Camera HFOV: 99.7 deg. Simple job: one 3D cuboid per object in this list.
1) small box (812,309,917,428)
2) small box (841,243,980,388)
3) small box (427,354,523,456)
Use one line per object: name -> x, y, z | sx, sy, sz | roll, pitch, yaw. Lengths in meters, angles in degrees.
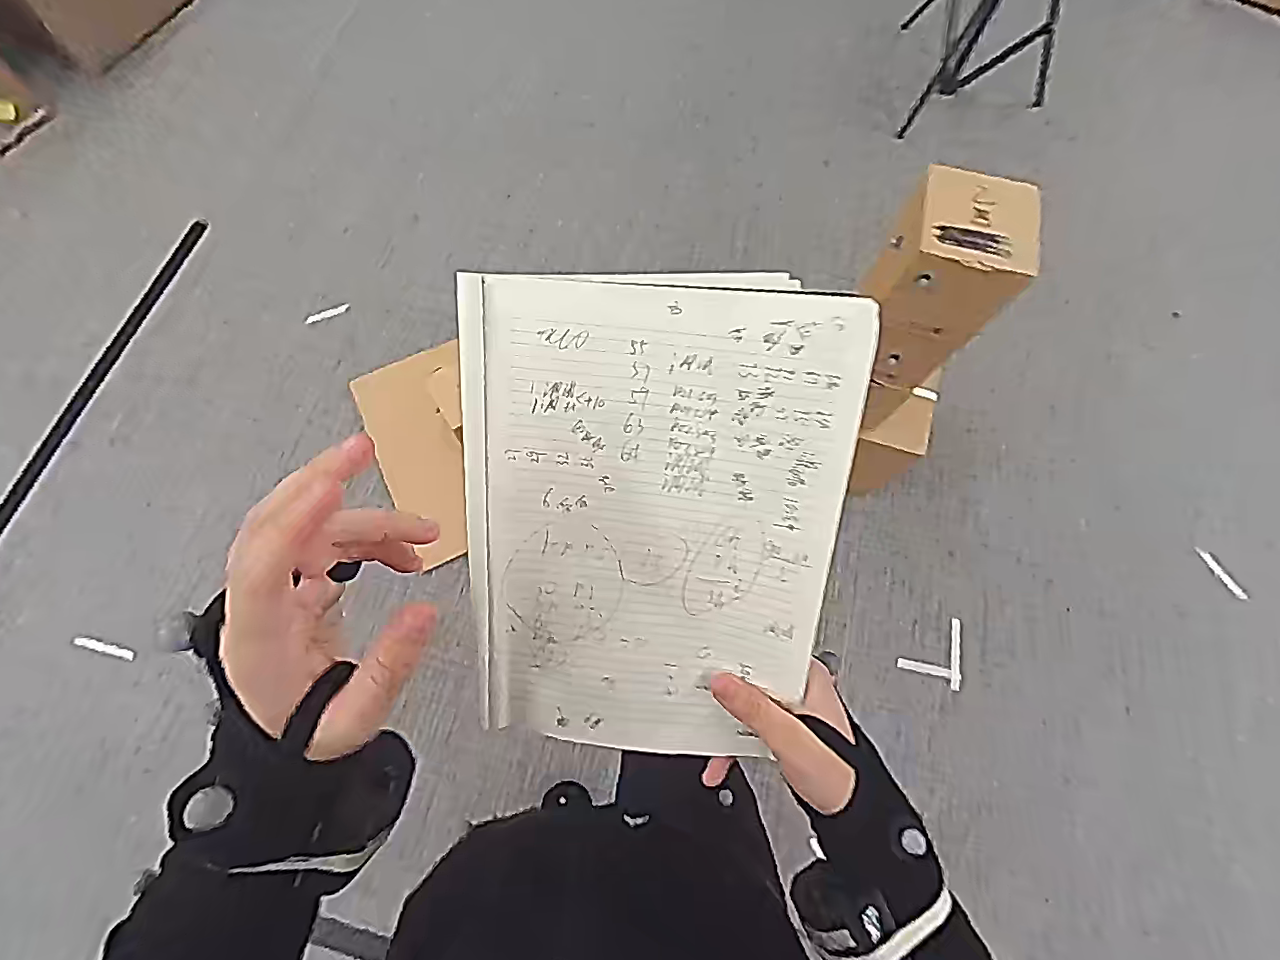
small box -> 0.486, -0.234, 1.159 | 0.168, 0.176, 0.179 | 19, 71, 5
small box -> 0.493, -0.297, 1.007 | 0.168, 0.176, 0.179 | 17, 72, 3
small box -> -0.430, -0.192, 1.434 | 0.168, 0.176, 0.179 | -32, 76, -12
